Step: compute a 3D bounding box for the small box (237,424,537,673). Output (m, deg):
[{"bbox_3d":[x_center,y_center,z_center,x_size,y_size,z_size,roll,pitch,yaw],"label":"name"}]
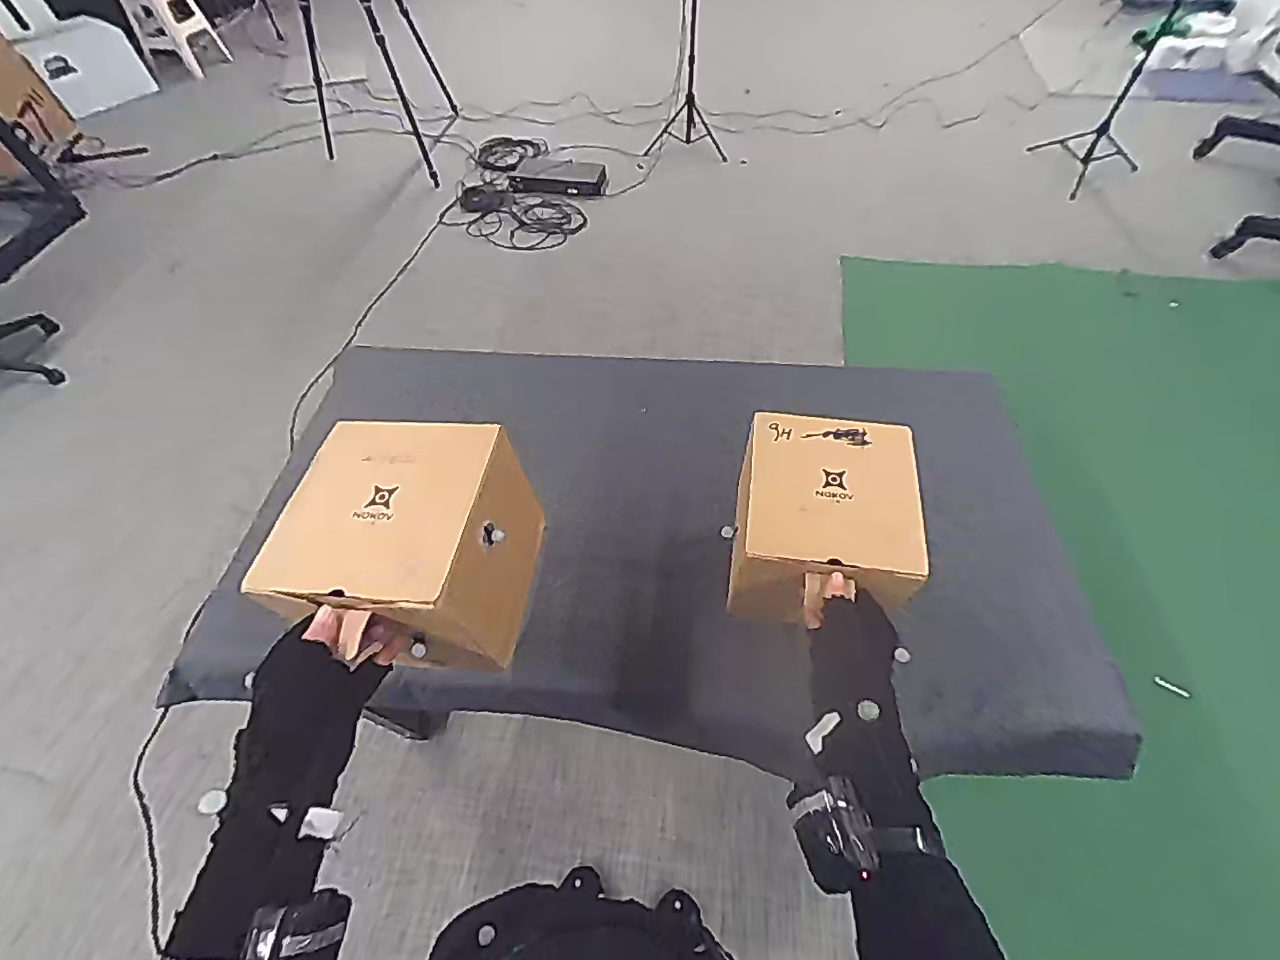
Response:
[{"bbox_3d":[-0.208,0.068,0.507,0.168,0.176,0.179,2,53,8],"label":"small box"}]
